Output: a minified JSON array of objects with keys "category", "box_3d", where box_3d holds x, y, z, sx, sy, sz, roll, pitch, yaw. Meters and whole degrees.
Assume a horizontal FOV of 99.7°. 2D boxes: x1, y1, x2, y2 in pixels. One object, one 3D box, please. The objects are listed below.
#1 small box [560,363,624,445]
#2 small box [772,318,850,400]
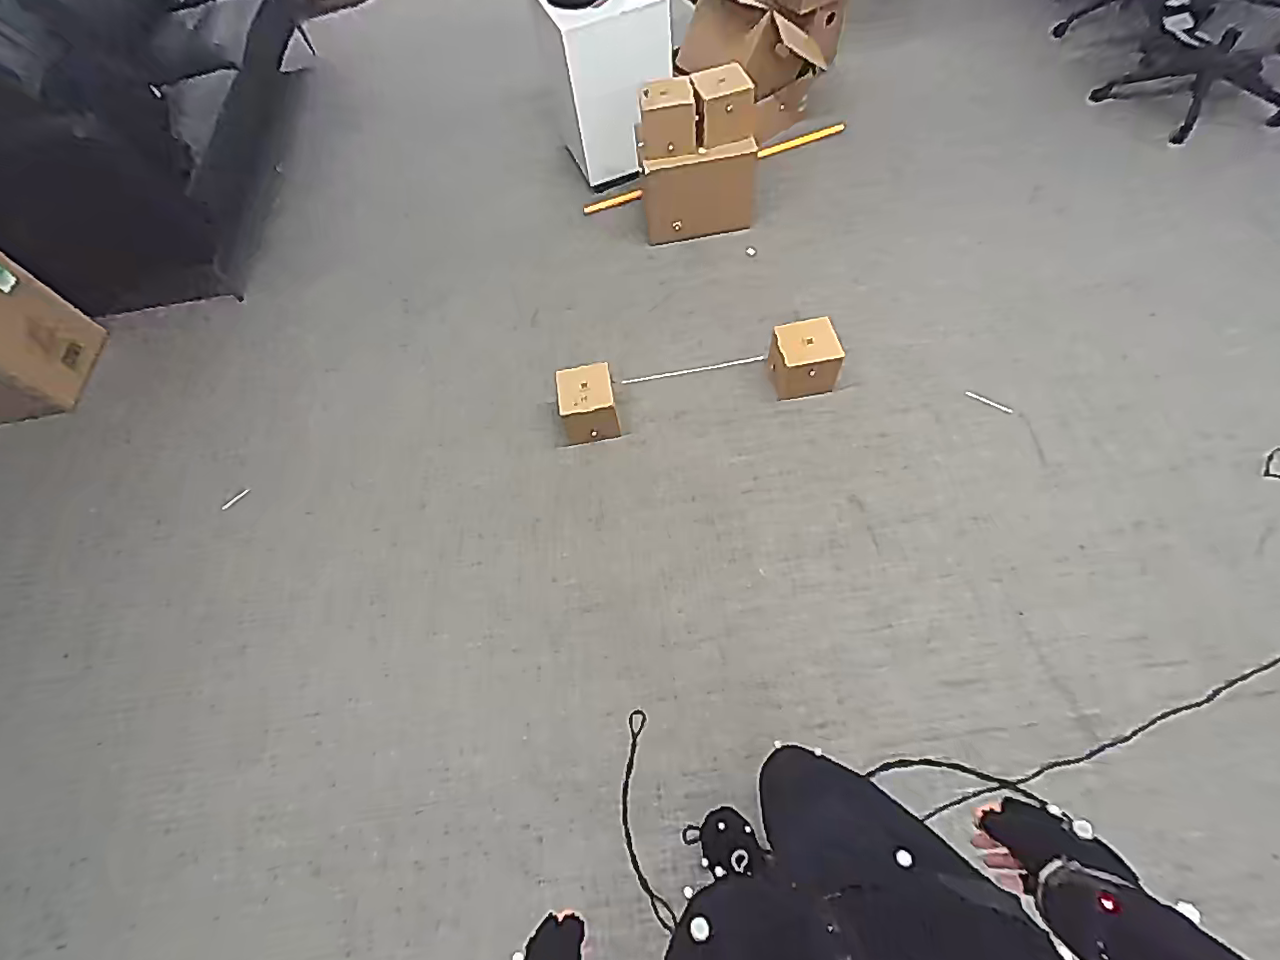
[{"category":"small box","box_3d":[-0.148,-0.234,1.692,0.168,0.176,0.179,-11,61,2]},{"category":"small box","box_3d":[0.524,-0.372,1.681,0.179,0.176,0.168,-11,62,2]}]
